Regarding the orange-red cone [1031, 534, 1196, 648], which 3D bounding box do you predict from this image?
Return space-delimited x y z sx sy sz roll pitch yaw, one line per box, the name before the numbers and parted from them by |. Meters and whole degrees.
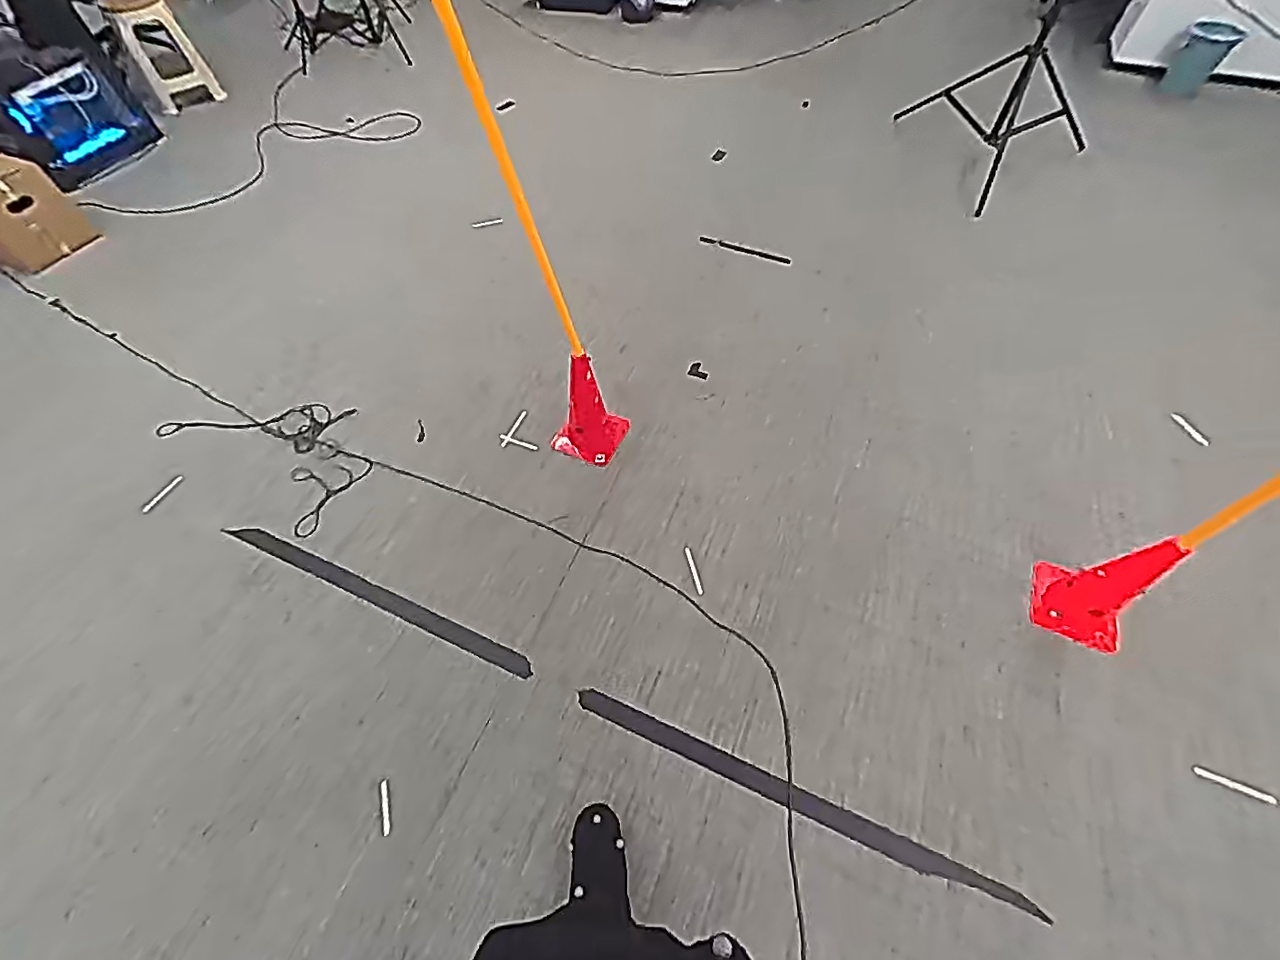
orange-red cone | 1.123 0.219 1.252 0.199 0.360 0.198 23 61 15
